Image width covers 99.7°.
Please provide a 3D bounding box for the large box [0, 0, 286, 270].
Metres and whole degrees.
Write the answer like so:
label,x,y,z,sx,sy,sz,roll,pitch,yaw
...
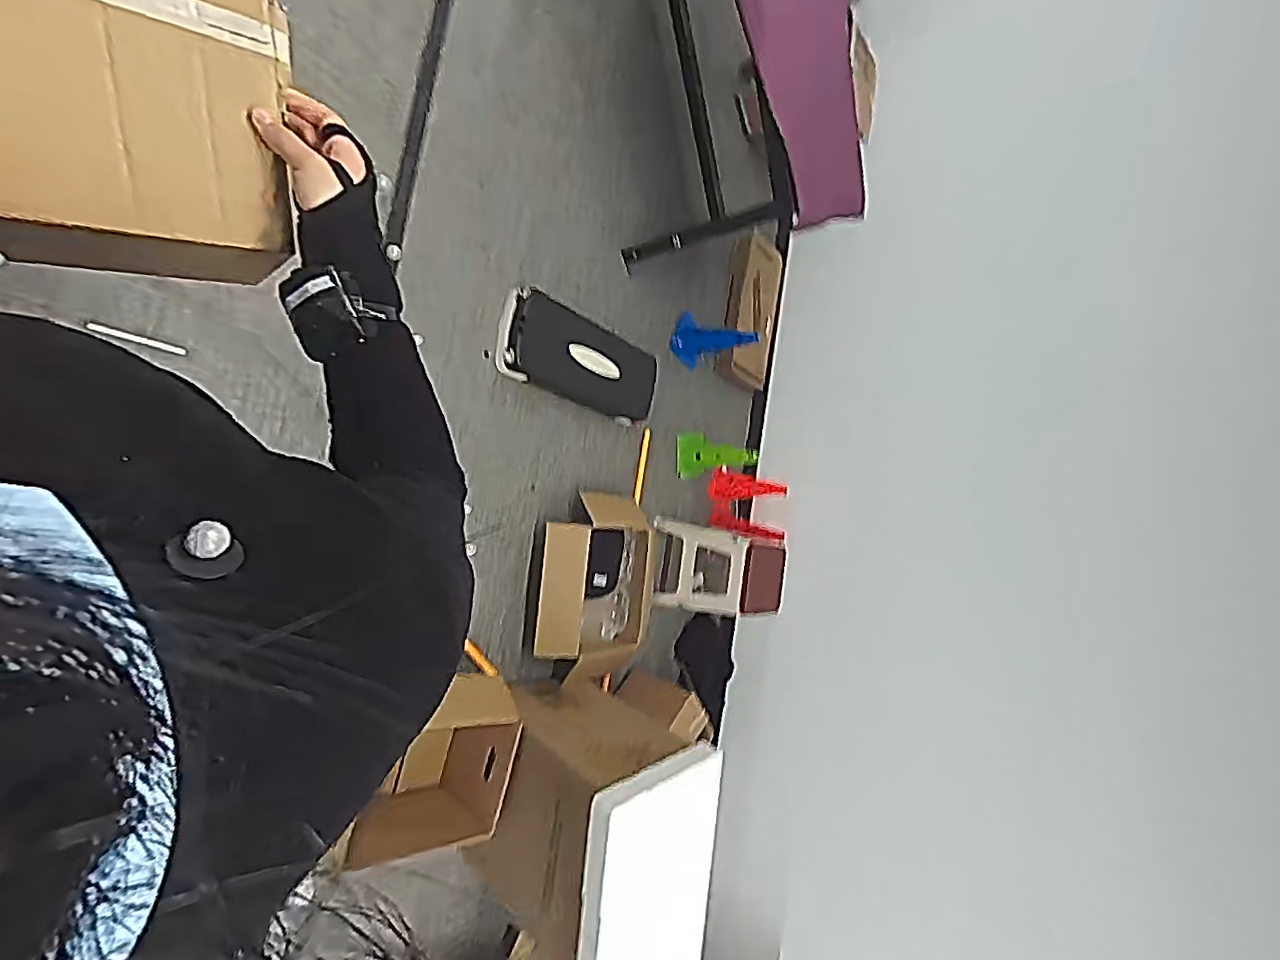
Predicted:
label,x,y,z,sx,sy,sz,roll,pitch,yaw
large box,-0.550,-0.358,0.425,0.408,0.320,0.320,-9,105,-38
